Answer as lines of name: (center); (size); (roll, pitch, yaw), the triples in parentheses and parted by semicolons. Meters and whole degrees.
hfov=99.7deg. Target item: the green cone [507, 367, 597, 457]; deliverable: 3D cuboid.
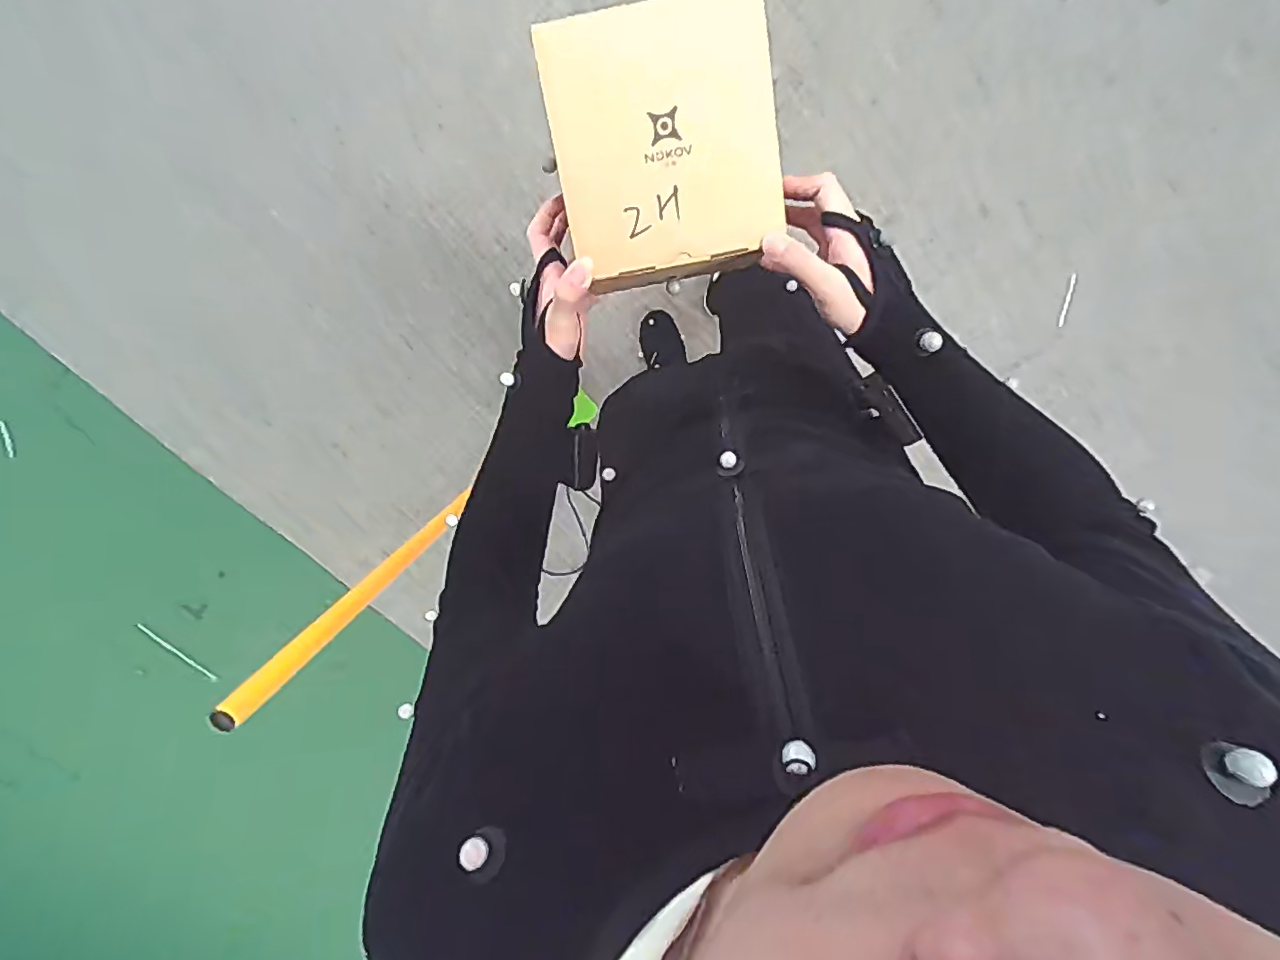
green cone: (-0.251, -0.135, 1.390); (0.200, 0.368, 0.202); (-39, 106, 13)
